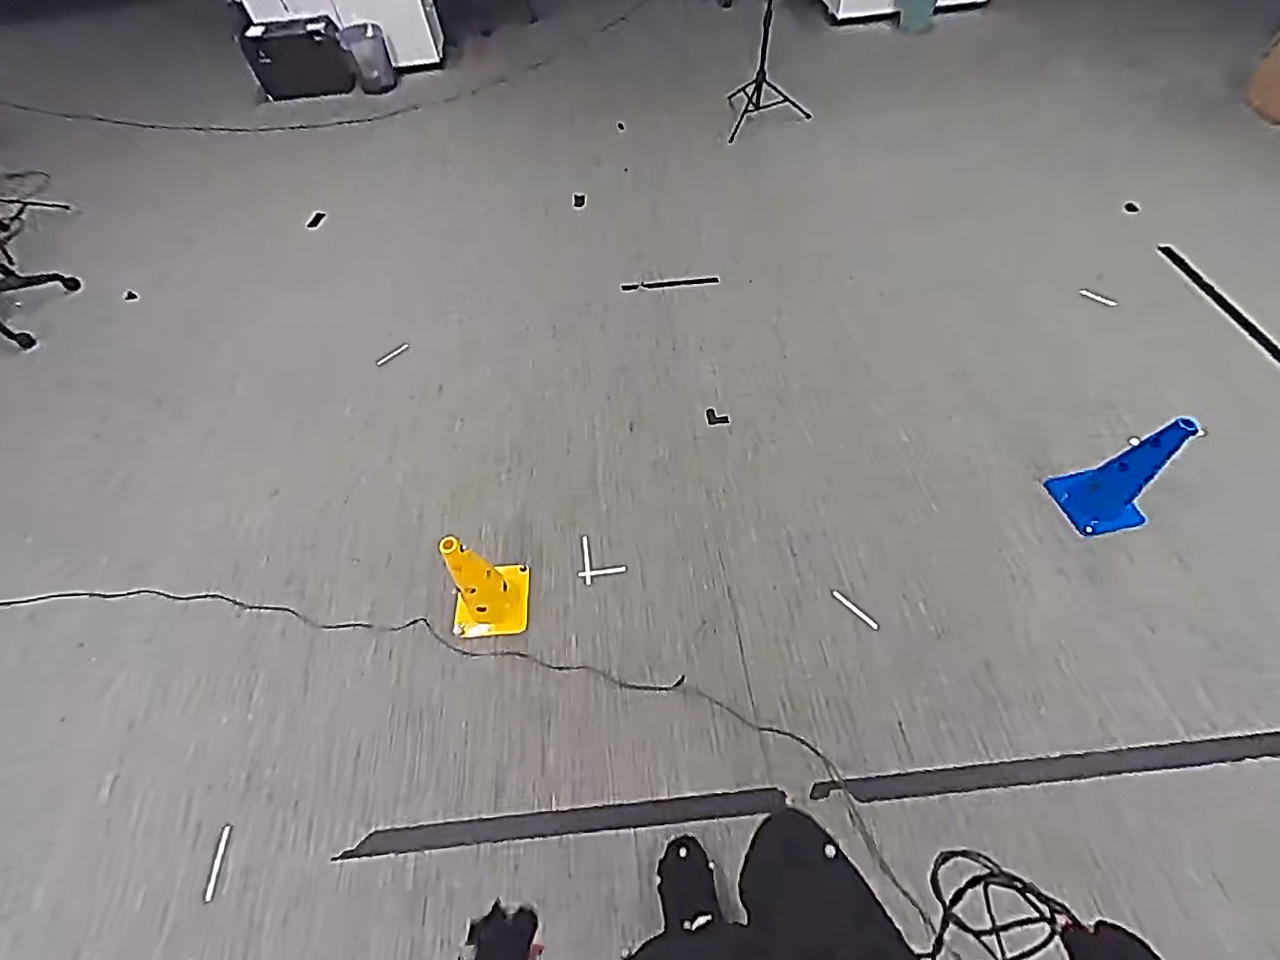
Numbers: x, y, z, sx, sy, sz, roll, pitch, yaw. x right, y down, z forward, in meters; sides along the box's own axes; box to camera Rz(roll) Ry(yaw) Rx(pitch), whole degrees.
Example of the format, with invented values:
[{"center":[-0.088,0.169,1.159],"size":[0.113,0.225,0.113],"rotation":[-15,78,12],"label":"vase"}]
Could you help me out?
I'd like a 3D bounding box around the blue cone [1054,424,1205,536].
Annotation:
[{"center":[1.320,-0.024,1.433],"size":[0.193,0.380,0.192],"rotation":[-11,57,-3],"label":"blue cone"}]
